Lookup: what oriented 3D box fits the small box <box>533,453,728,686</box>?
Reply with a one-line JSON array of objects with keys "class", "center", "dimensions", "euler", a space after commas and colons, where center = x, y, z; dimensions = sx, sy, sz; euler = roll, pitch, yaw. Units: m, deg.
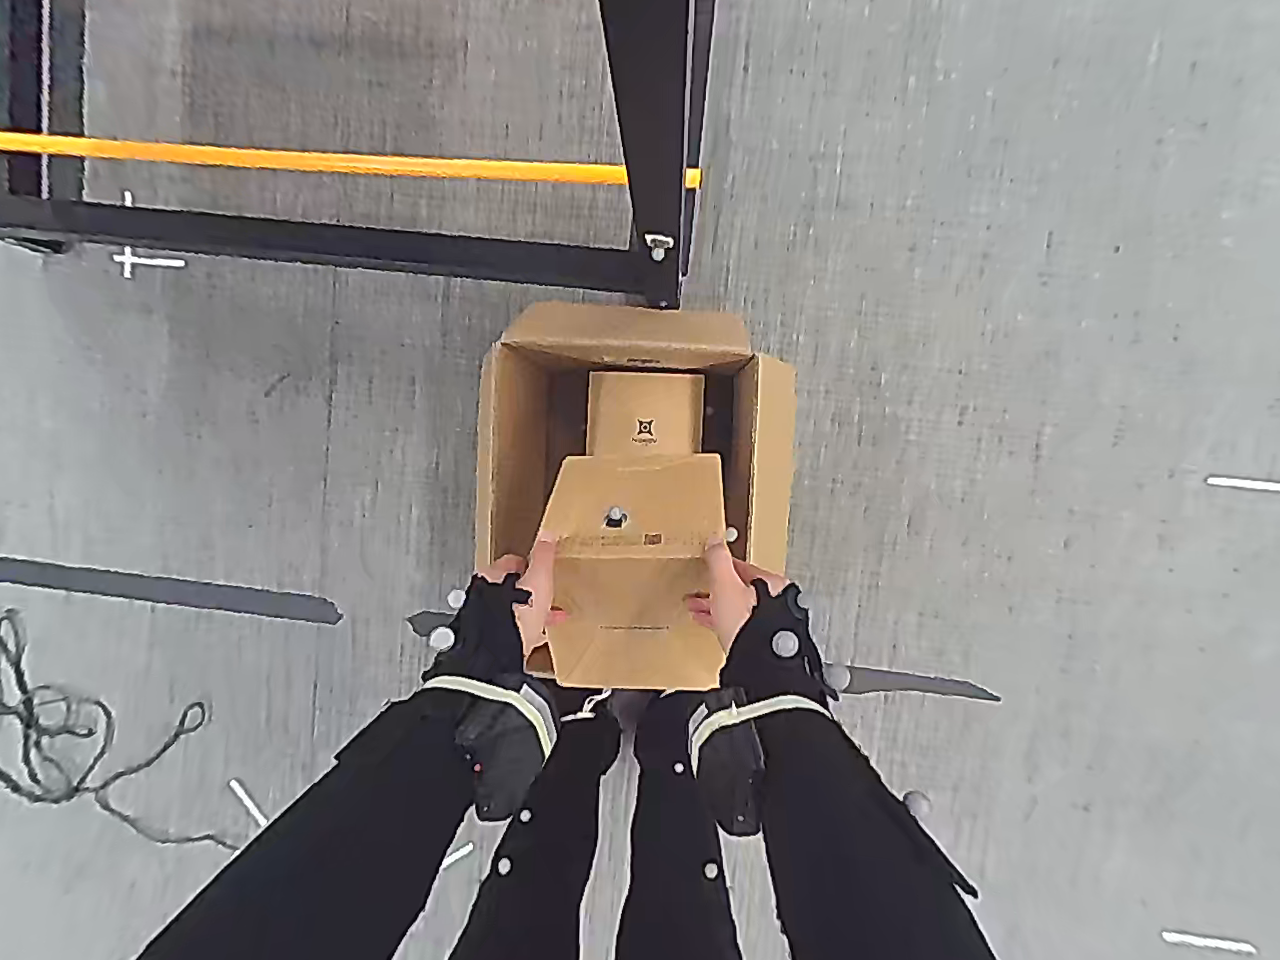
[{"class": "small box", "center": [0.001, 0.091, 0.548], "dimensions": [0.168, 0.176, 0.179], "euler": [-1, 125, 7]}]
